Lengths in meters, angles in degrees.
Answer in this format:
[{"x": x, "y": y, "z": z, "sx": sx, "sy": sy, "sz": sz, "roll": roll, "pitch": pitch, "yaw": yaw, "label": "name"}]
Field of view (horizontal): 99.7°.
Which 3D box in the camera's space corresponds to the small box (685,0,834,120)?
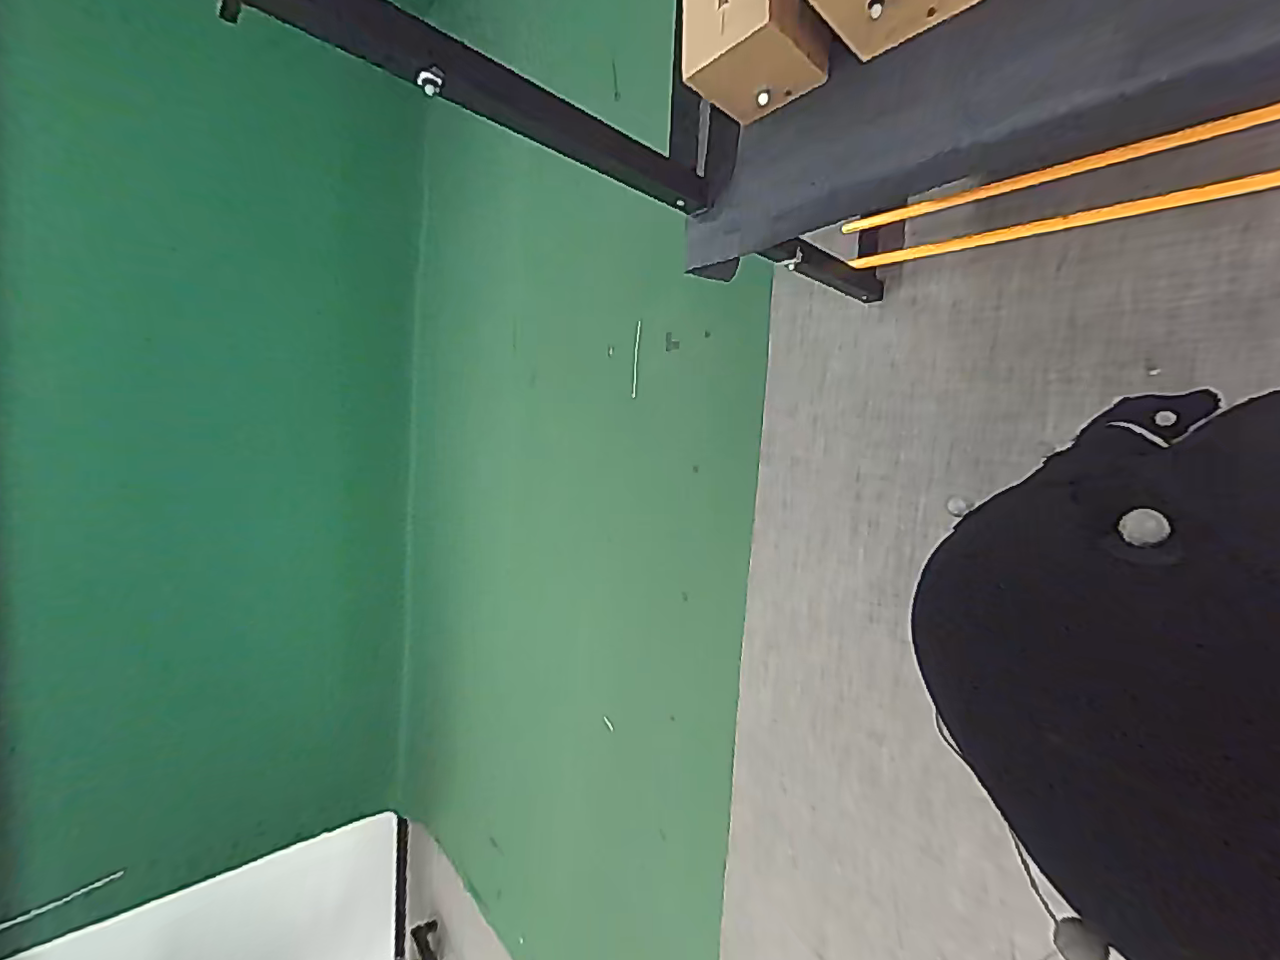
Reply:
[{"x": 0.190, "y": -0.721, "z": 0.853, "sx": 0.168, "sy": 0.176, "sz": 0.179, "roll": 4, "pitch": 93, "yaw": 48, "label": "small box"}]
